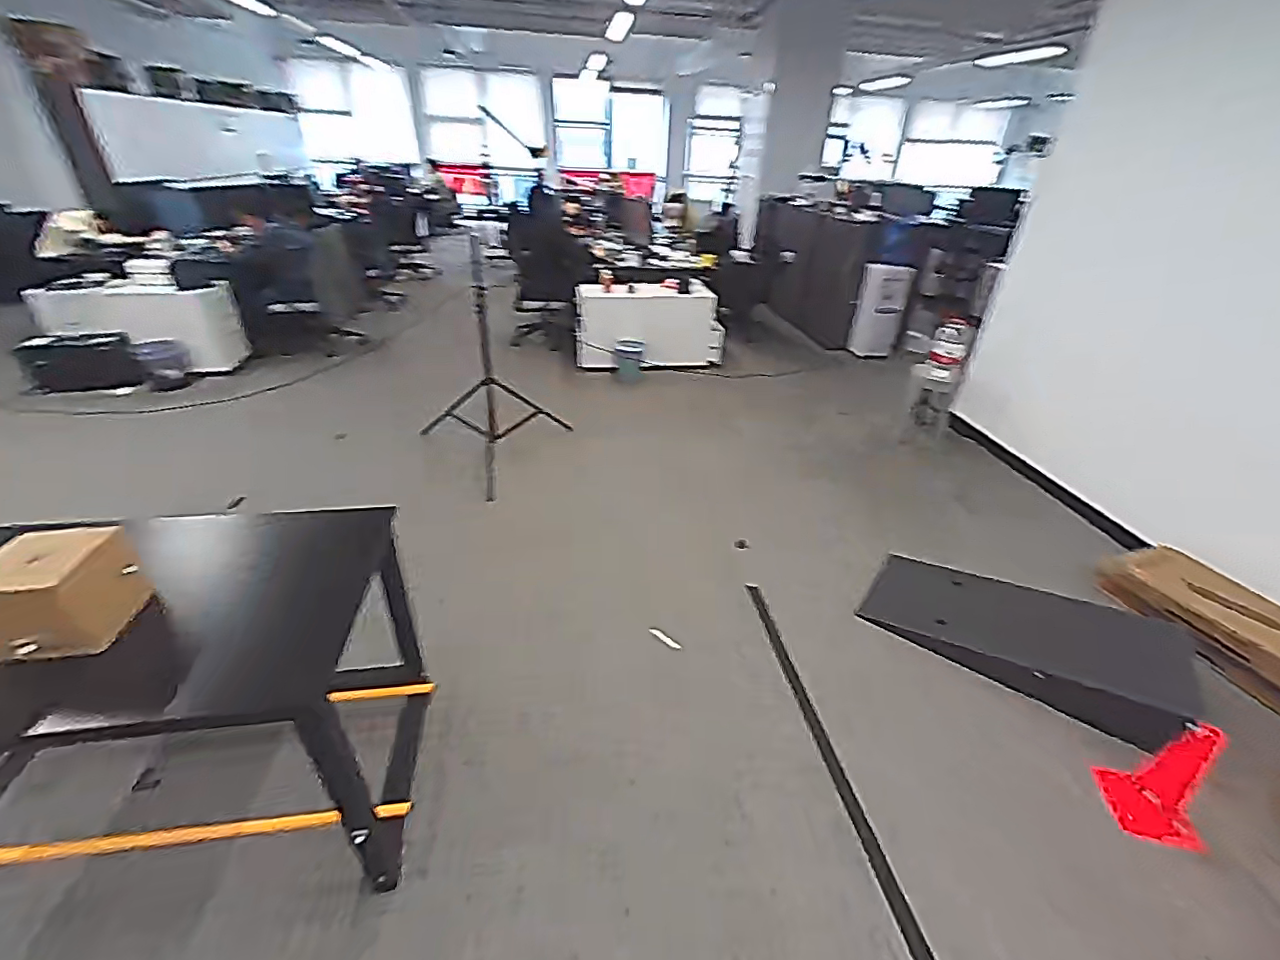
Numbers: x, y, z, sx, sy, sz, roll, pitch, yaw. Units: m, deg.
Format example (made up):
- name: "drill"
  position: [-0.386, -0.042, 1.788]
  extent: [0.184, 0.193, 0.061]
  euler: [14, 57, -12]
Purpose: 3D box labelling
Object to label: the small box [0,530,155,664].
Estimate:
- name: "small box"
  position: [-1.069, 0.215, 1.013]
  extent: [0.168, 0.176, 0.179]
  euler: [-4, 32, -9]
